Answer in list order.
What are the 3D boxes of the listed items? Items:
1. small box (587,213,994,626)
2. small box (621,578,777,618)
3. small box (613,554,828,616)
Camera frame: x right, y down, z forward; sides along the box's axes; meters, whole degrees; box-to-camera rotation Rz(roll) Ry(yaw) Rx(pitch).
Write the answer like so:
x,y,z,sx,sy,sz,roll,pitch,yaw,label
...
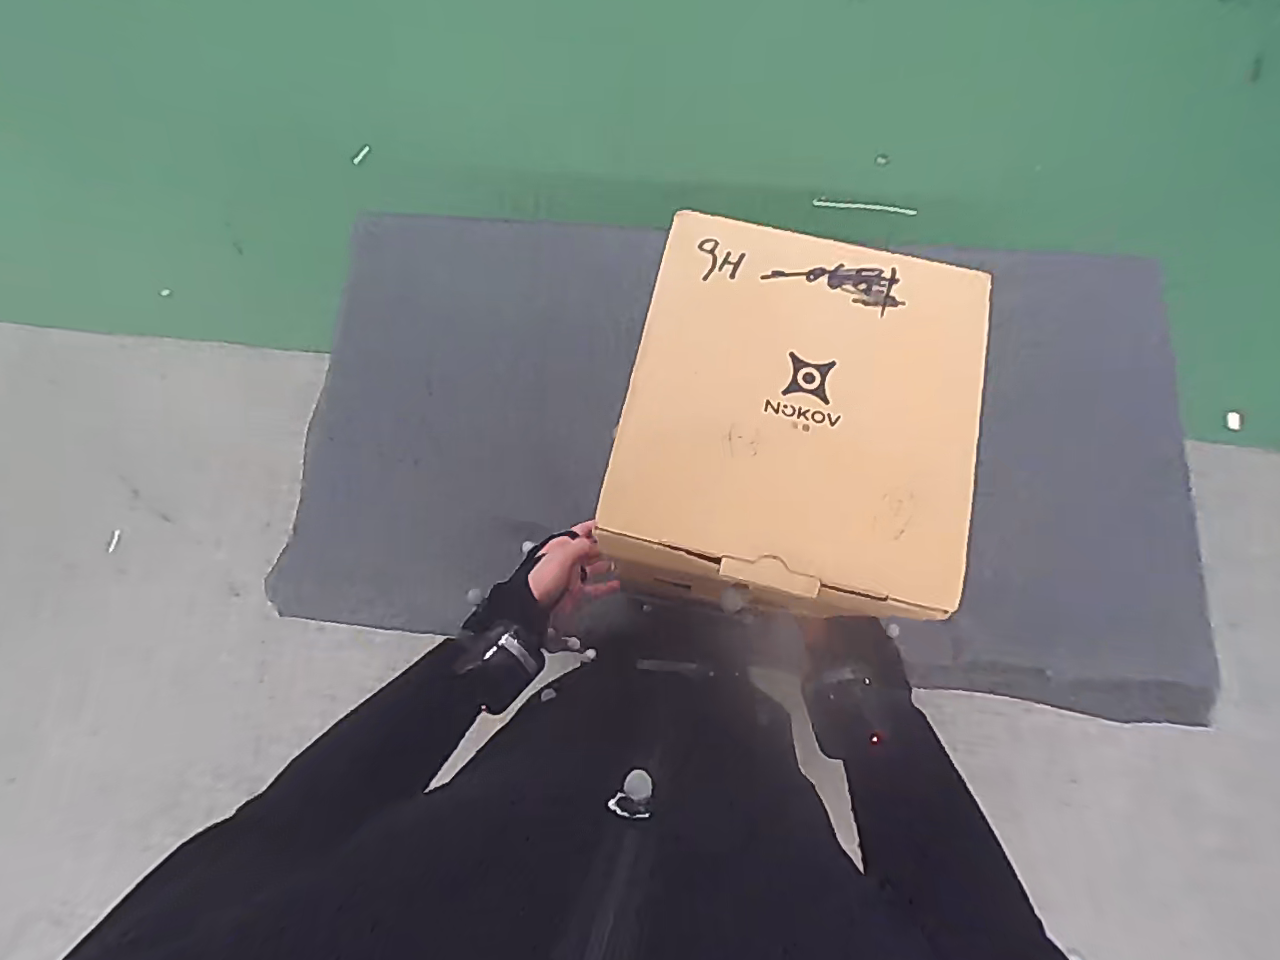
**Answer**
x,y,z,sx,sy,sz,roll,pitch,yaw,label
0.076,-0.020,0.333,0.168,0.176,0.179,13,78,3,small box
0.078,0.062,0.647,0.168,0.176,0.179,10,76,4,small box
0.076,0.020,0.492,0.168,0.176,0.179,10,76,2,small box
